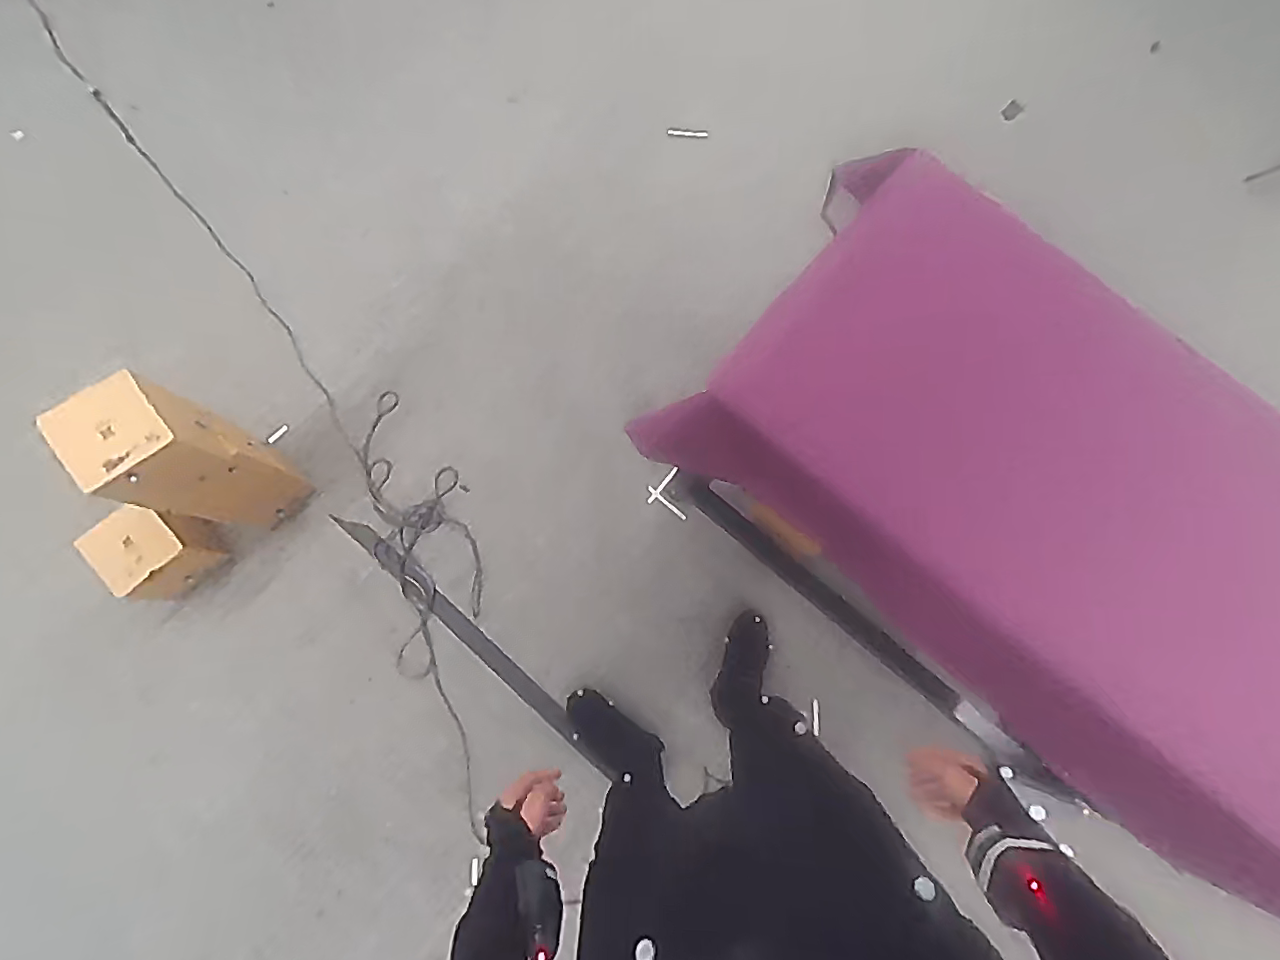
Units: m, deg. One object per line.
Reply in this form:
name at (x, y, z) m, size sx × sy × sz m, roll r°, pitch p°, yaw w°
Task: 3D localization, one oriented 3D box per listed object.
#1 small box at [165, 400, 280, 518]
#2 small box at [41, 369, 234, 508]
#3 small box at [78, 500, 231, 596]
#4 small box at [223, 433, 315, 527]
small box at (-0.948, -0.036, 1.184) m, size 0.168 × 0.176 × 0.179 m, roll 43°, pitch 78°, yaw 6°
small box at (-0.935, -0.070, 1.024) m, size 0.168 × 0.176 × 0.179 m, roll -39°, pitch 82°, yaw -12°
small box at (-1.141, 0.161, 1.286) m, size 0.168 × 0.176 × 0.179 m, roll -43°, pitch 84°, yaw -12°
small box at (-0.963, 0.000, 1.342) m, size 0.179 × 0.176 × 0.168 m, roll 41°, pitch 78°, yaw 5°
